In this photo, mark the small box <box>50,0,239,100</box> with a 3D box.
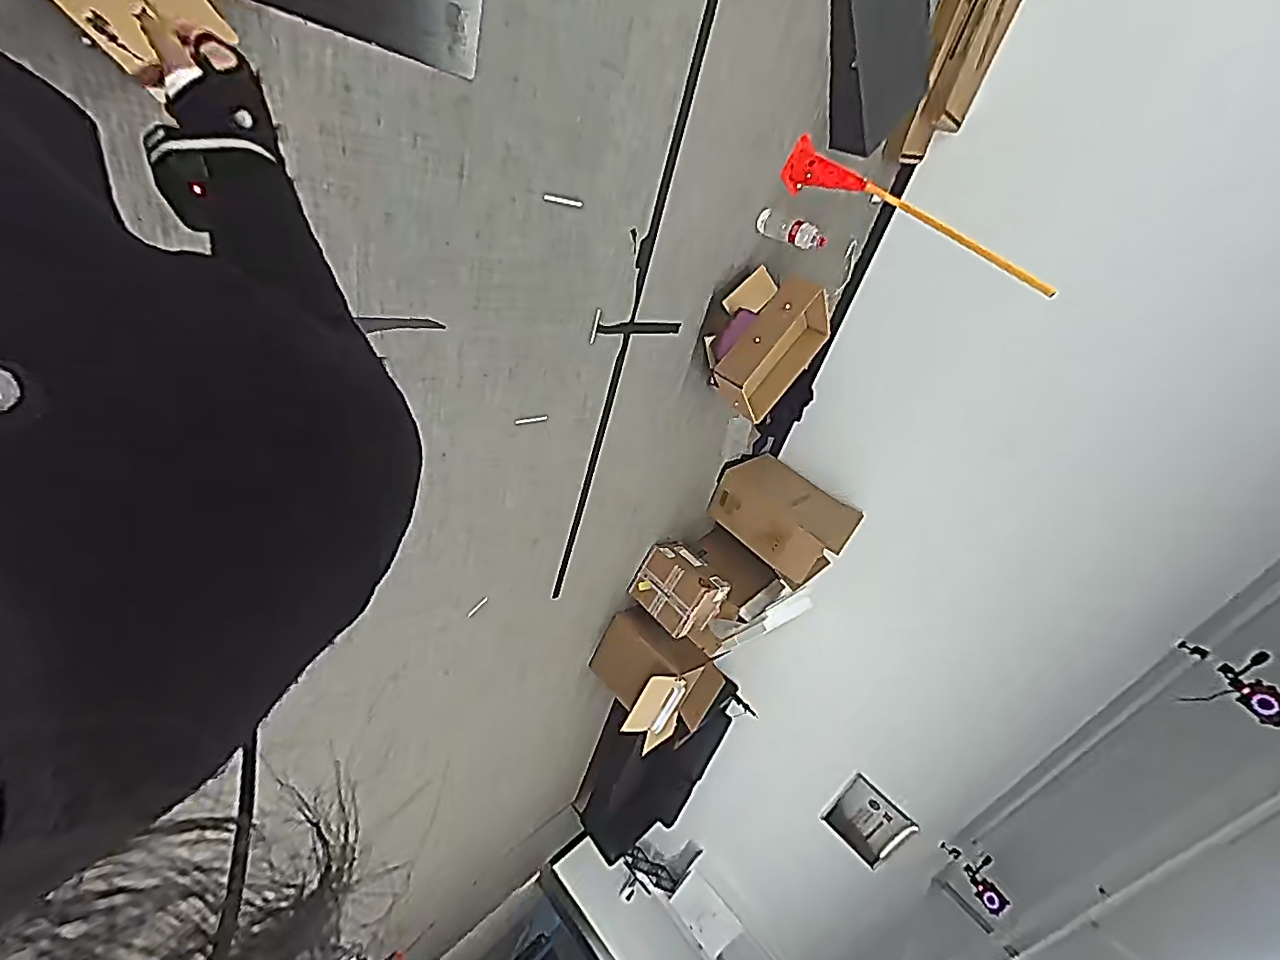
[{"bbox_3d":[-0.814,-0.767,0.875,0.179,0.176,0.168,-48,150,-7],"label":"small box"}]
